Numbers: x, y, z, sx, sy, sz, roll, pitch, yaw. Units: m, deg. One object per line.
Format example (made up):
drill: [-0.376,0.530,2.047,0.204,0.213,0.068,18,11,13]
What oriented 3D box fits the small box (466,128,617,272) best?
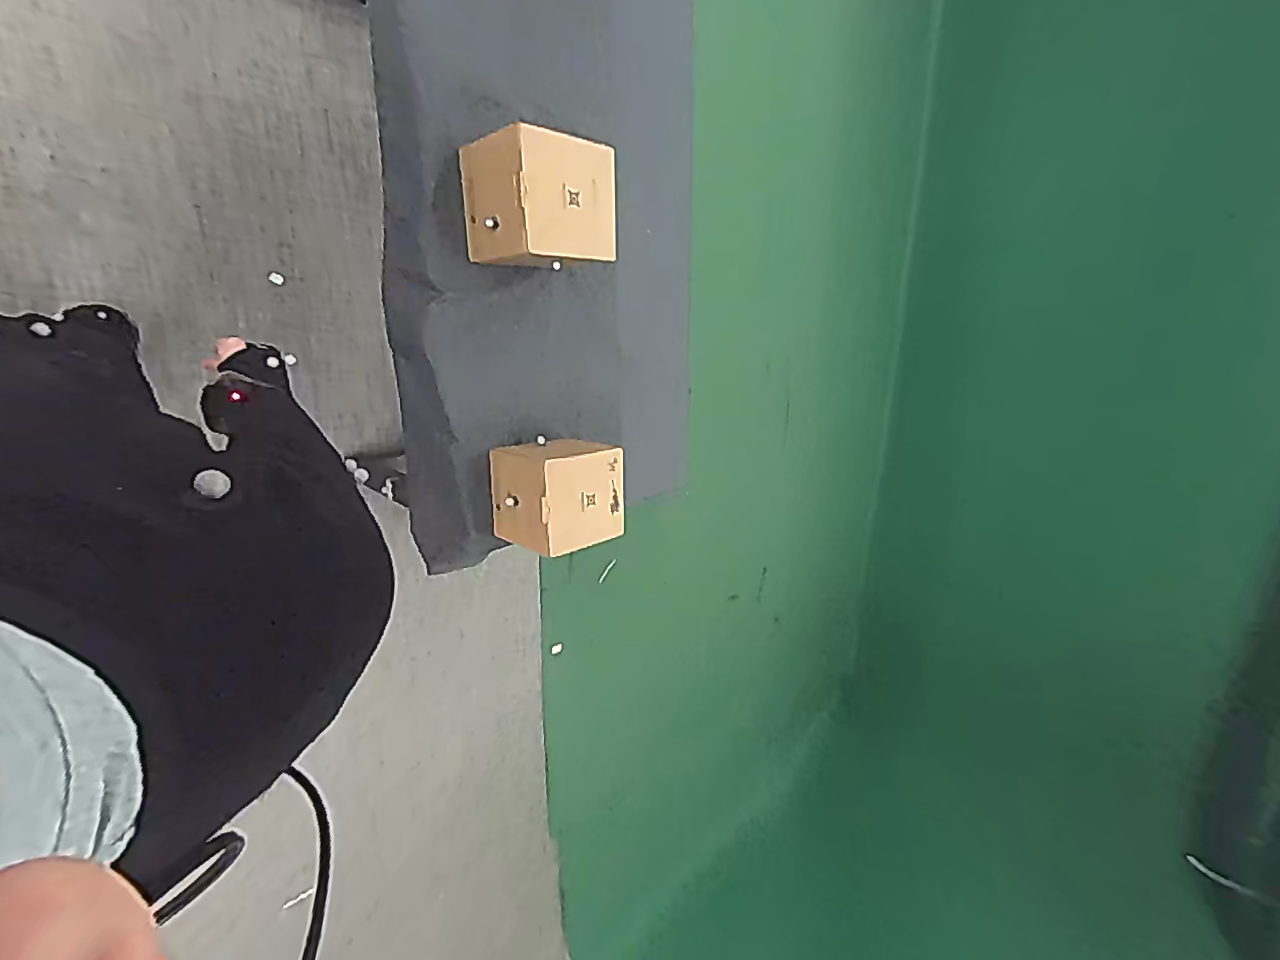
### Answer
small box: [-0.156,-0.420,0.845,0.179,0.176,0.168,-18,115,-44]

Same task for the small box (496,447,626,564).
small box: [-0.145,0.036,0.971,0.179,0.176,0.168,-13,107,-44]
